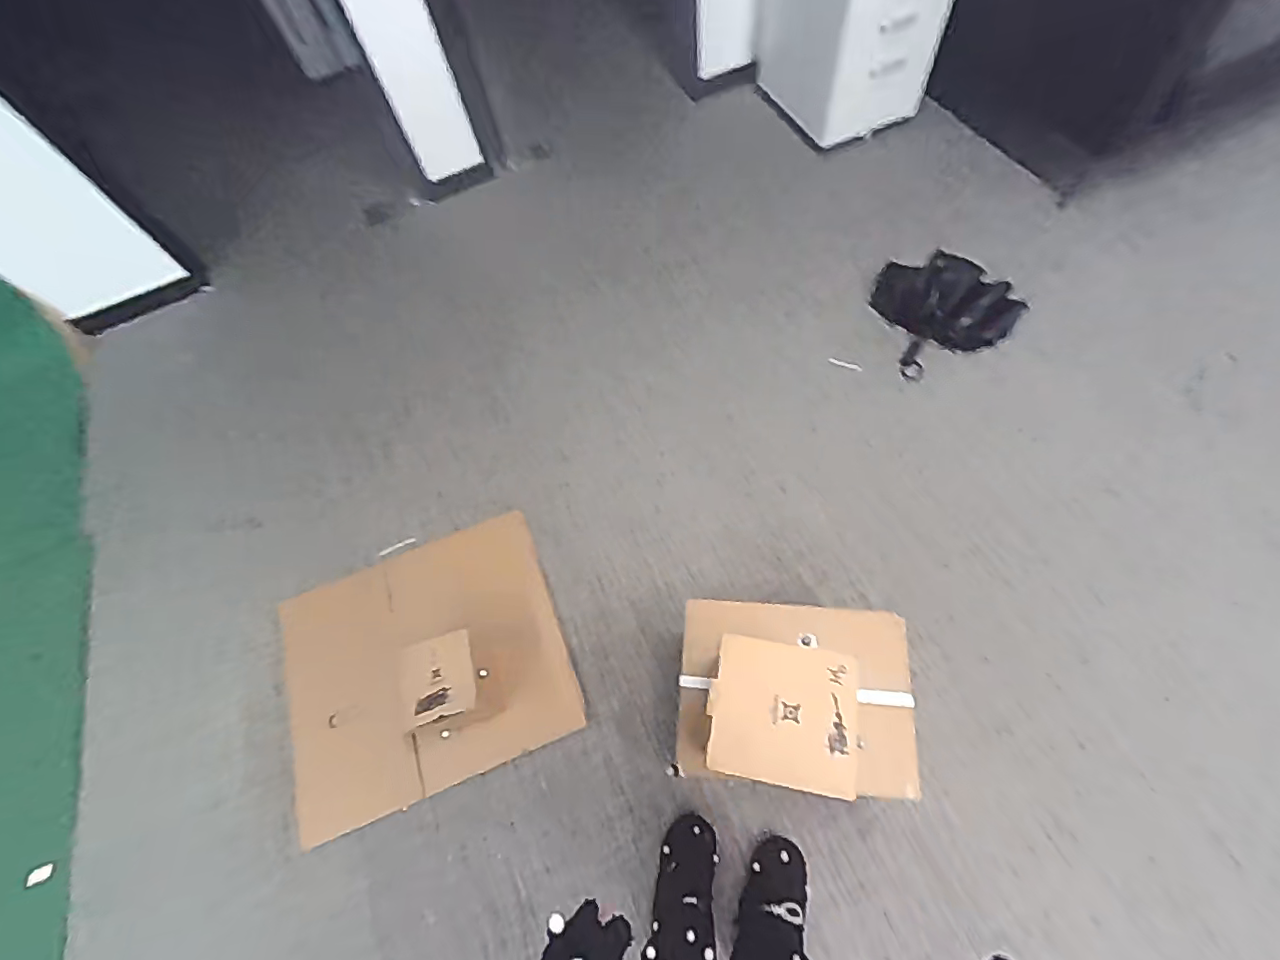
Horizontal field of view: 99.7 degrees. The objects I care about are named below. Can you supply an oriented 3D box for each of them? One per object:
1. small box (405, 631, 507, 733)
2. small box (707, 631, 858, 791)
[{"bbox_3d":[-0.421,0.473,1.251,0.168,0.176,0.179,-18,60,-1],"label":"small box"},{"bbox_3d":[0.188,0.319,0.740,0.179,0.176,0.168,5,62,10],"label":"small box"}]
